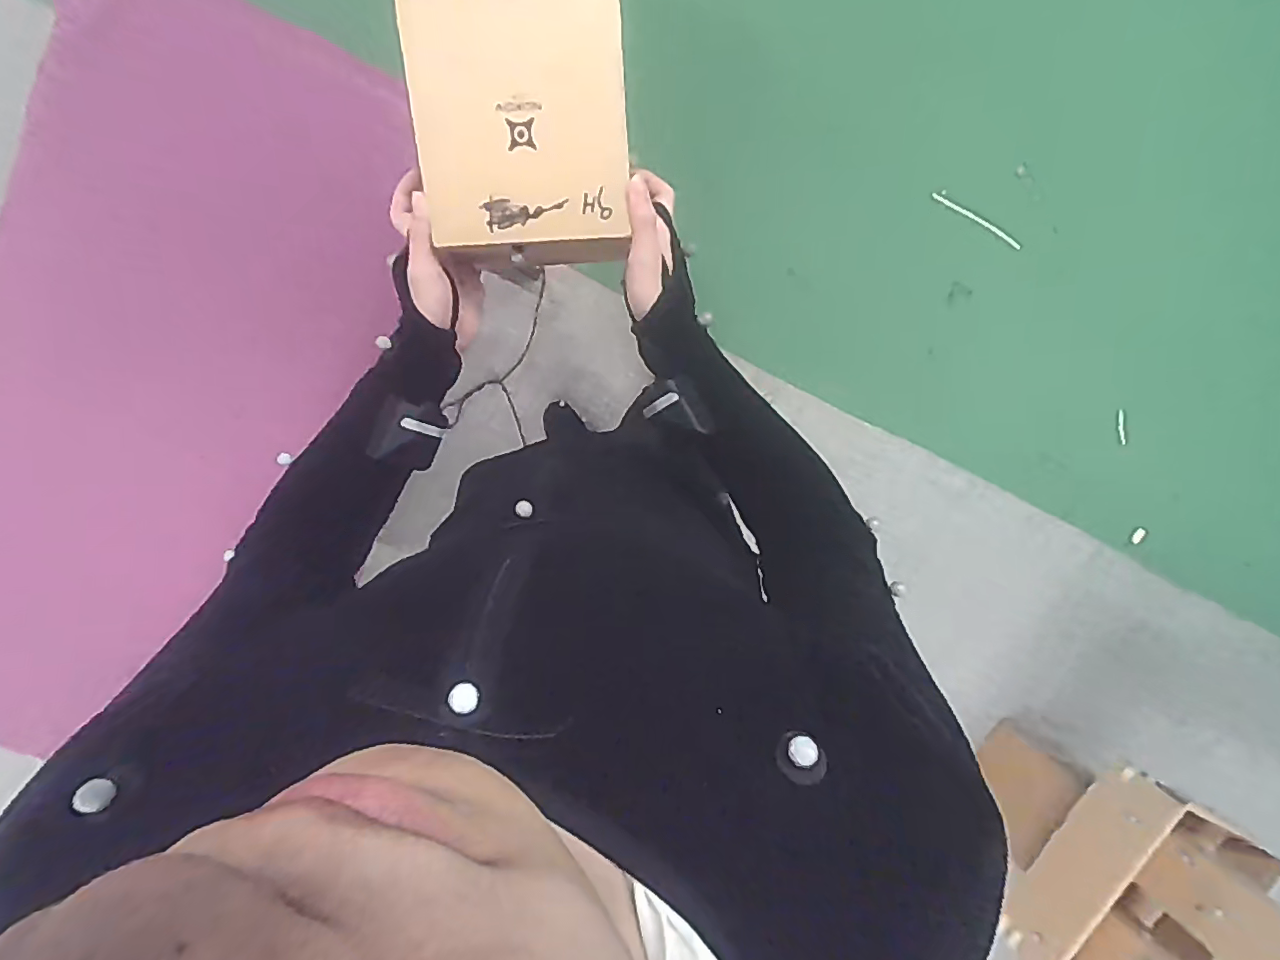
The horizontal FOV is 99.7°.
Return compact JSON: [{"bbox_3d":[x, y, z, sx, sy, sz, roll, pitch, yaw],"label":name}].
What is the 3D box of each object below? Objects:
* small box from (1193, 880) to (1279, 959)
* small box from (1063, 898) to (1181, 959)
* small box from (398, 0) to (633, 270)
[{"bbox_3d":[1.433,1.054,1.215,0.179,0.176,0.168,29,96,-8],"label":"small box"},{"bbox_3d":[1.272,1.245,1.404,0.179,0.176,0.168,31,96,-7],"label":"small box"},{"bbox_3d":[-0.096,-0.295,0.488,0.168,0.176,0.179,-4,105,-3],"label":"small box"}]
